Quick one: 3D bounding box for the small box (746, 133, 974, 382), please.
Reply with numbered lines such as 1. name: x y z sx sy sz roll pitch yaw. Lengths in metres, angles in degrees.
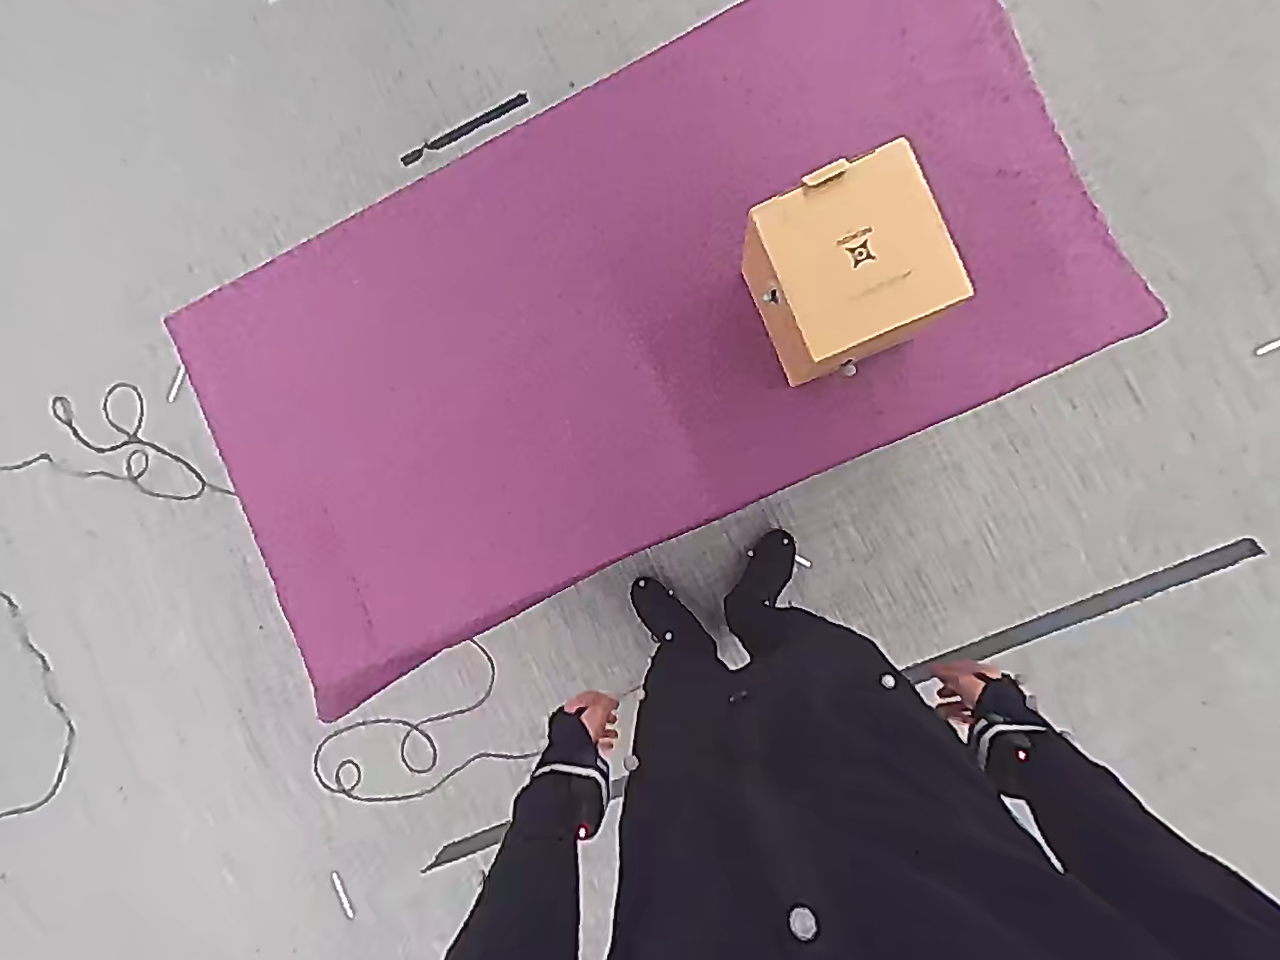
1. small box: 0.227 -0.231 0.611 0.168 0.176 0.179 -22 88 8
